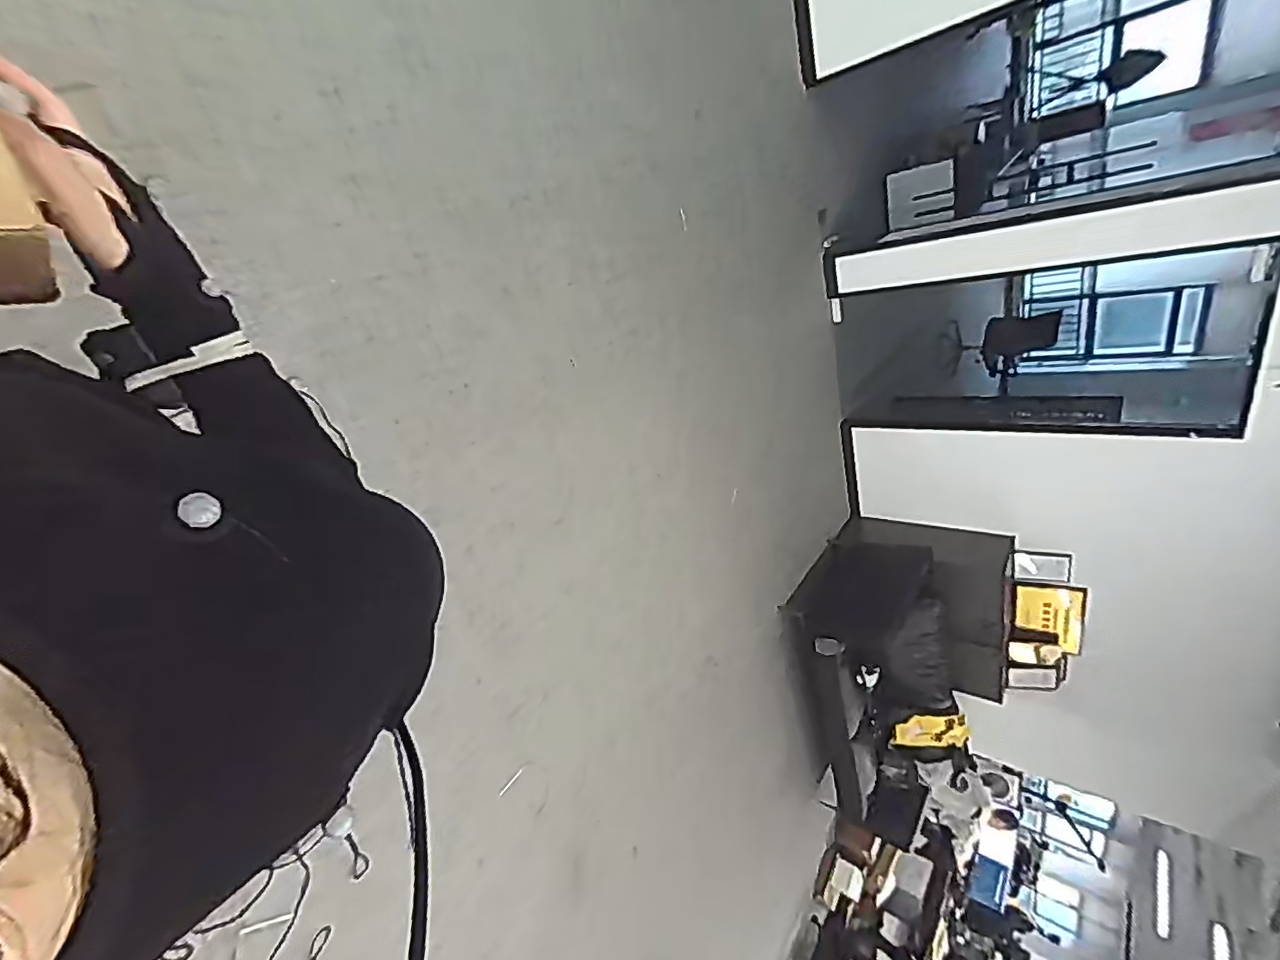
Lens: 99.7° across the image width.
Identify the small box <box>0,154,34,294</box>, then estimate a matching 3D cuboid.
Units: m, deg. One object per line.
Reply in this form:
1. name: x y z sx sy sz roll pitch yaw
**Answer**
1. small box: -0.436 -0.185 0.248 0.168 0.176 0.179 -27 113 -43
